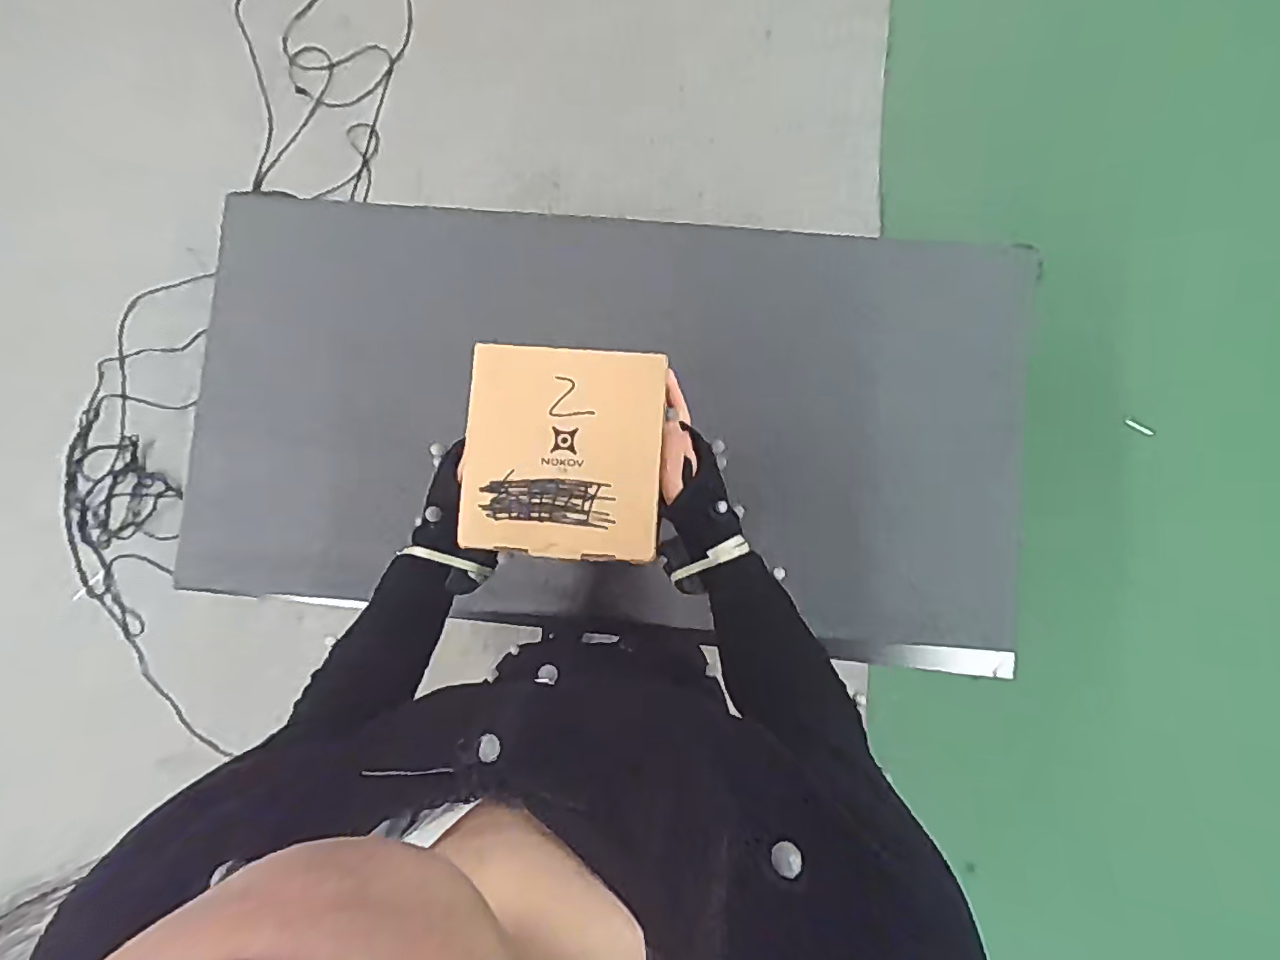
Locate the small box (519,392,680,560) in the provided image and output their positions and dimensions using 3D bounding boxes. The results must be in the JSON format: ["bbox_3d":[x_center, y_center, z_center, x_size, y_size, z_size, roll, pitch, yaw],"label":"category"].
[{"bbox_3d":[-0.043,-0.002,0.689,0.168,0.176,0.179,7,88,3],"label":"small box"}]
